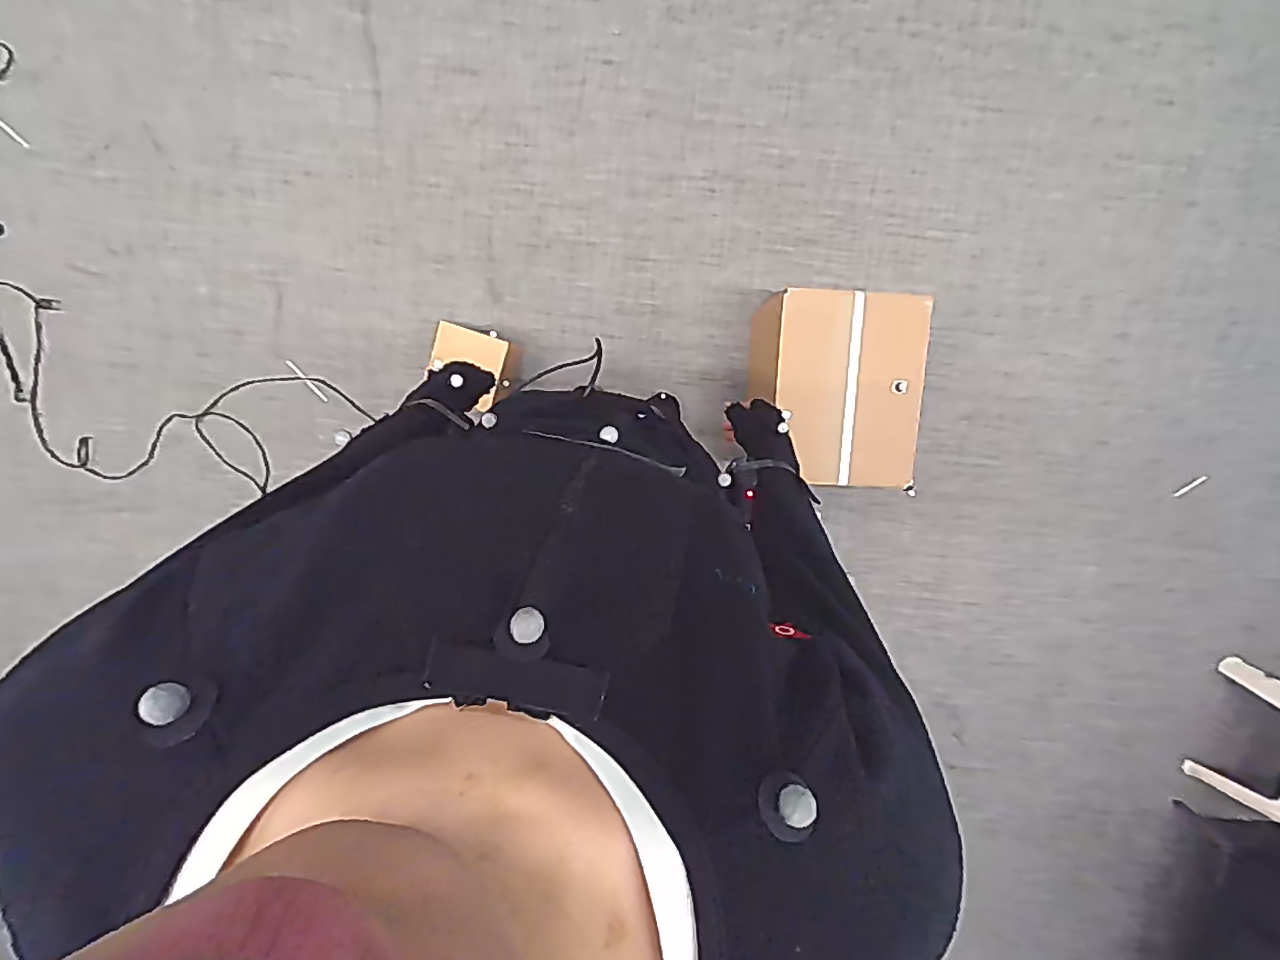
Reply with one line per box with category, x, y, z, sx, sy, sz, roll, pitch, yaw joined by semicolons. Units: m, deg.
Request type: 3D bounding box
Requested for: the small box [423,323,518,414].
small box;-0.414;-0.276;1.350;0.168;0.176;0.179;17;100;-3
